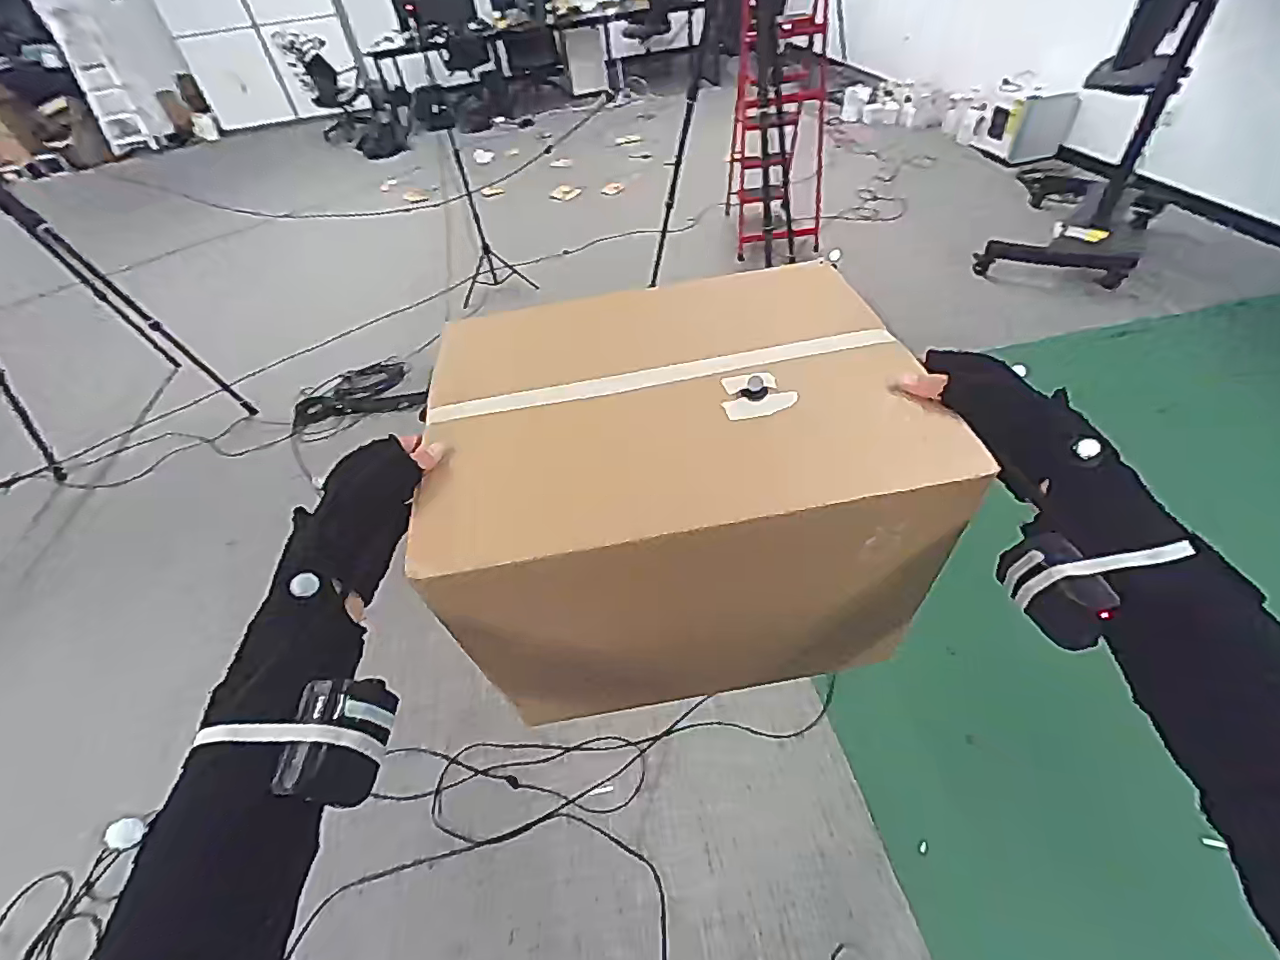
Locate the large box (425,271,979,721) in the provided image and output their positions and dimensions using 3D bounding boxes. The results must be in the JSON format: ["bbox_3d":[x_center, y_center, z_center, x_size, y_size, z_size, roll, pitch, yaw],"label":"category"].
[{"bbox_3d":[0.036,0.021,0.581,0.408,0.320,0.320,-10,49,-2],"label":"large box"}]
